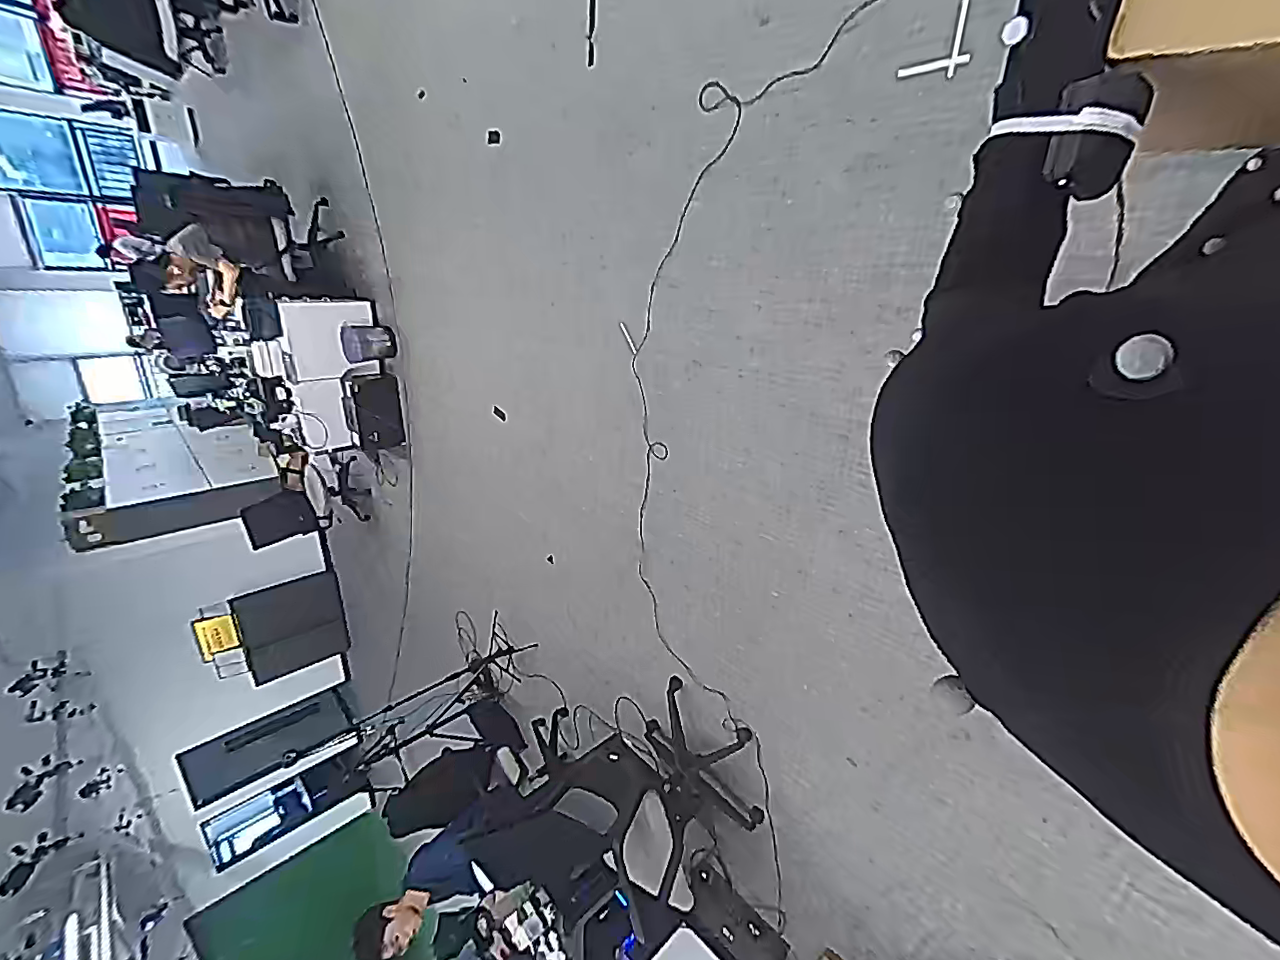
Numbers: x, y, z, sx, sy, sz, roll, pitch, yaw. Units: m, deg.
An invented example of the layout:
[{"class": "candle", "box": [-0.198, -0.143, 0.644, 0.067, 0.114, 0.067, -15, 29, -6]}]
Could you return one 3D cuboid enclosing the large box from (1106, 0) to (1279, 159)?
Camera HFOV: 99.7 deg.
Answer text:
[{"class": "large box", "box": [0.573, -0.395, 0.304, 0.408, 0.320, 0.320, 23, 119, 37]}]
